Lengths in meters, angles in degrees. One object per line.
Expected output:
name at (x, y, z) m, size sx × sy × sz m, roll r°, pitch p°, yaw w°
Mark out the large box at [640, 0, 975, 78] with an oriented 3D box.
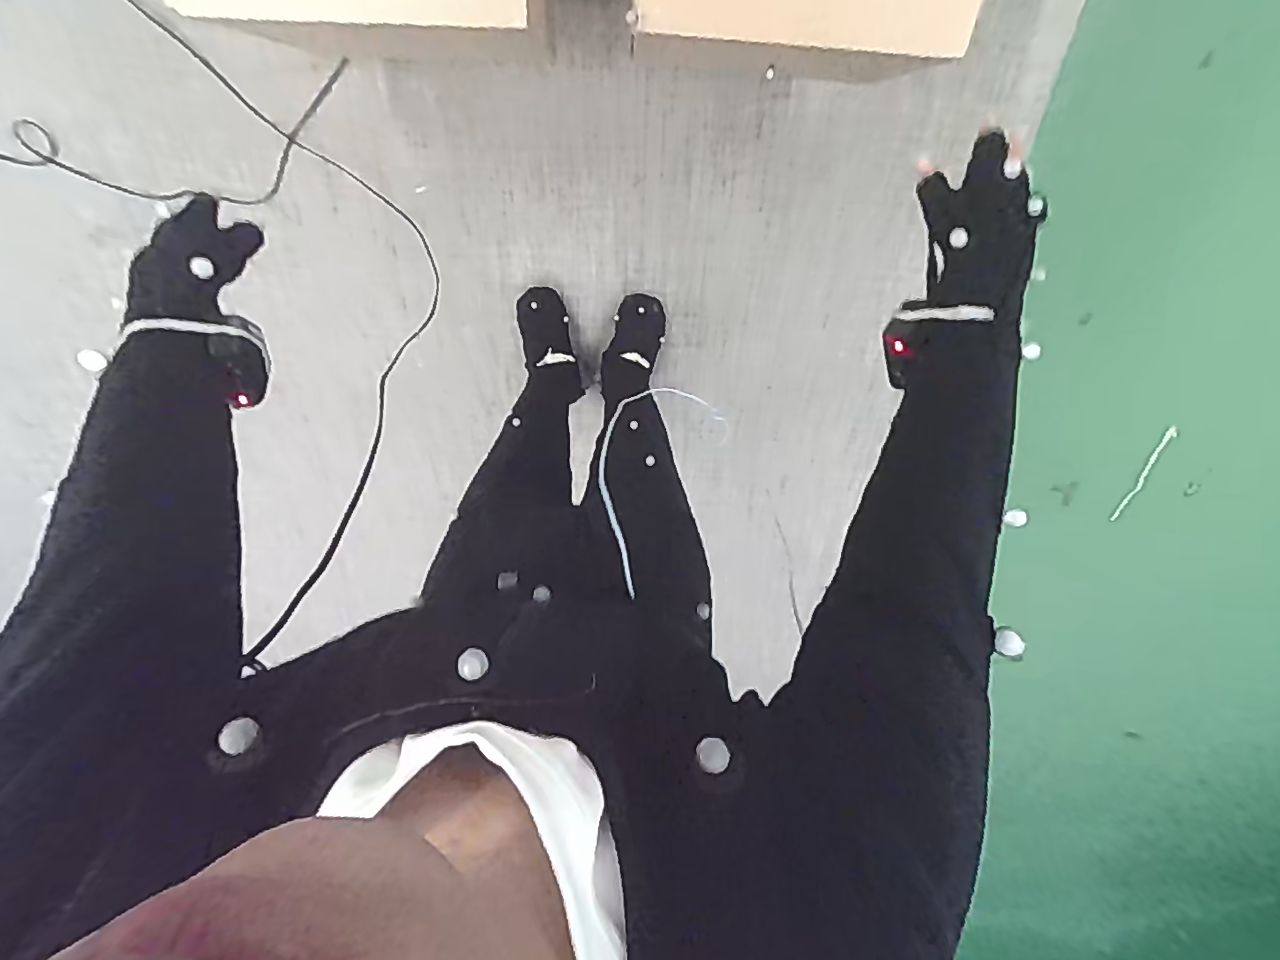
large box at (0.211, -0.742, 0.714) m, size 0.408 × 0.320 × 0.320 m, roll 3°, pitch 121°, yaw -3°
